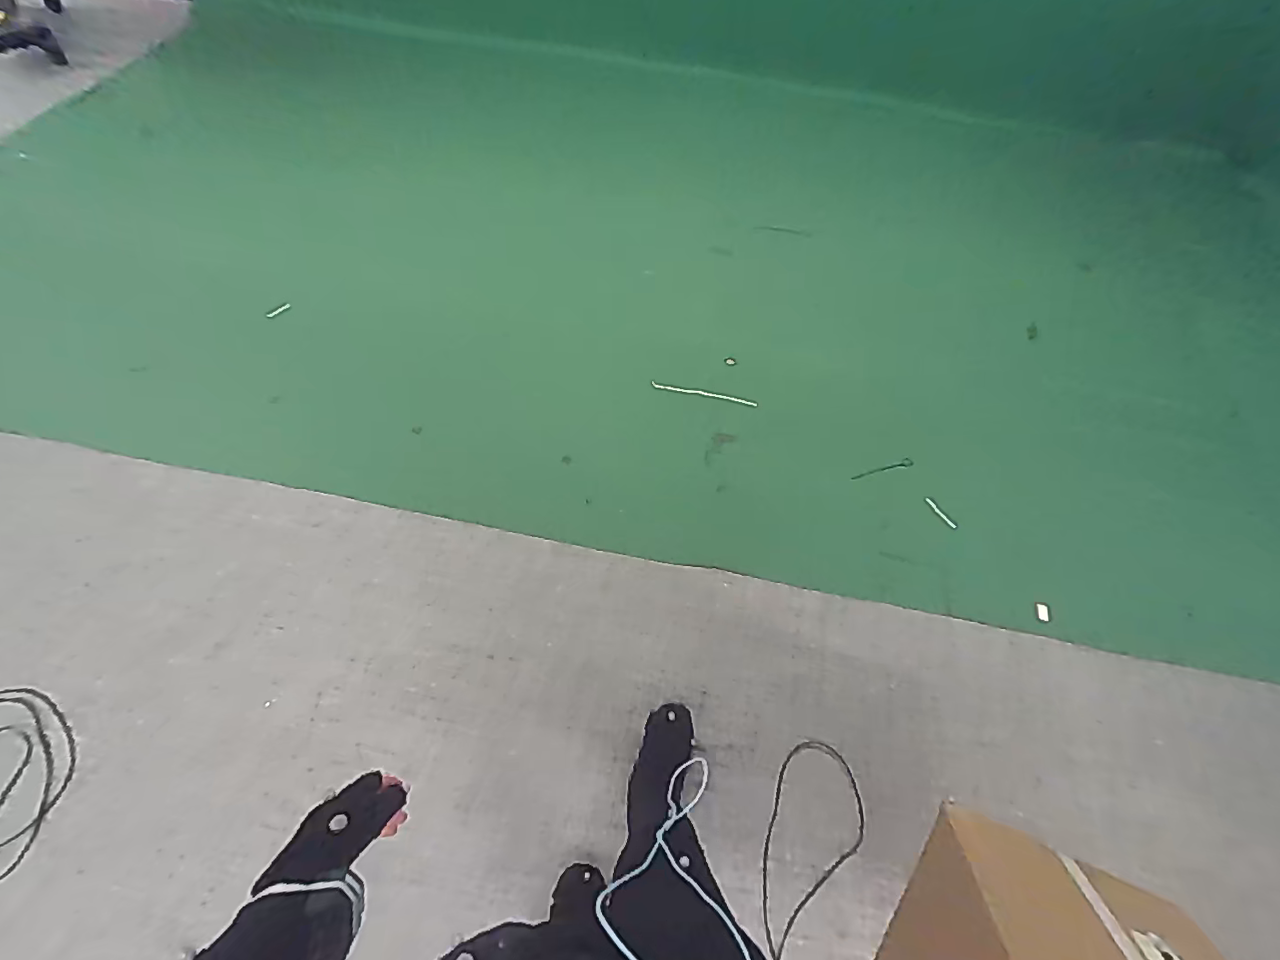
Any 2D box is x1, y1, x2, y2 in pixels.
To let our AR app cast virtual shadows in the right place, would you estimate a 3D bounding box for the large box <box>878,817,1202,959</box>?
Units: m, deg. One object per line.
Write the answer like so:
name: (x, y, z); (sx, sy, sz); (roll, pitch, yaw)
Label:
large box: (0.477, 0.691, 0.586); (0.320, 0.408, 0.320); (21, 97, 14)
